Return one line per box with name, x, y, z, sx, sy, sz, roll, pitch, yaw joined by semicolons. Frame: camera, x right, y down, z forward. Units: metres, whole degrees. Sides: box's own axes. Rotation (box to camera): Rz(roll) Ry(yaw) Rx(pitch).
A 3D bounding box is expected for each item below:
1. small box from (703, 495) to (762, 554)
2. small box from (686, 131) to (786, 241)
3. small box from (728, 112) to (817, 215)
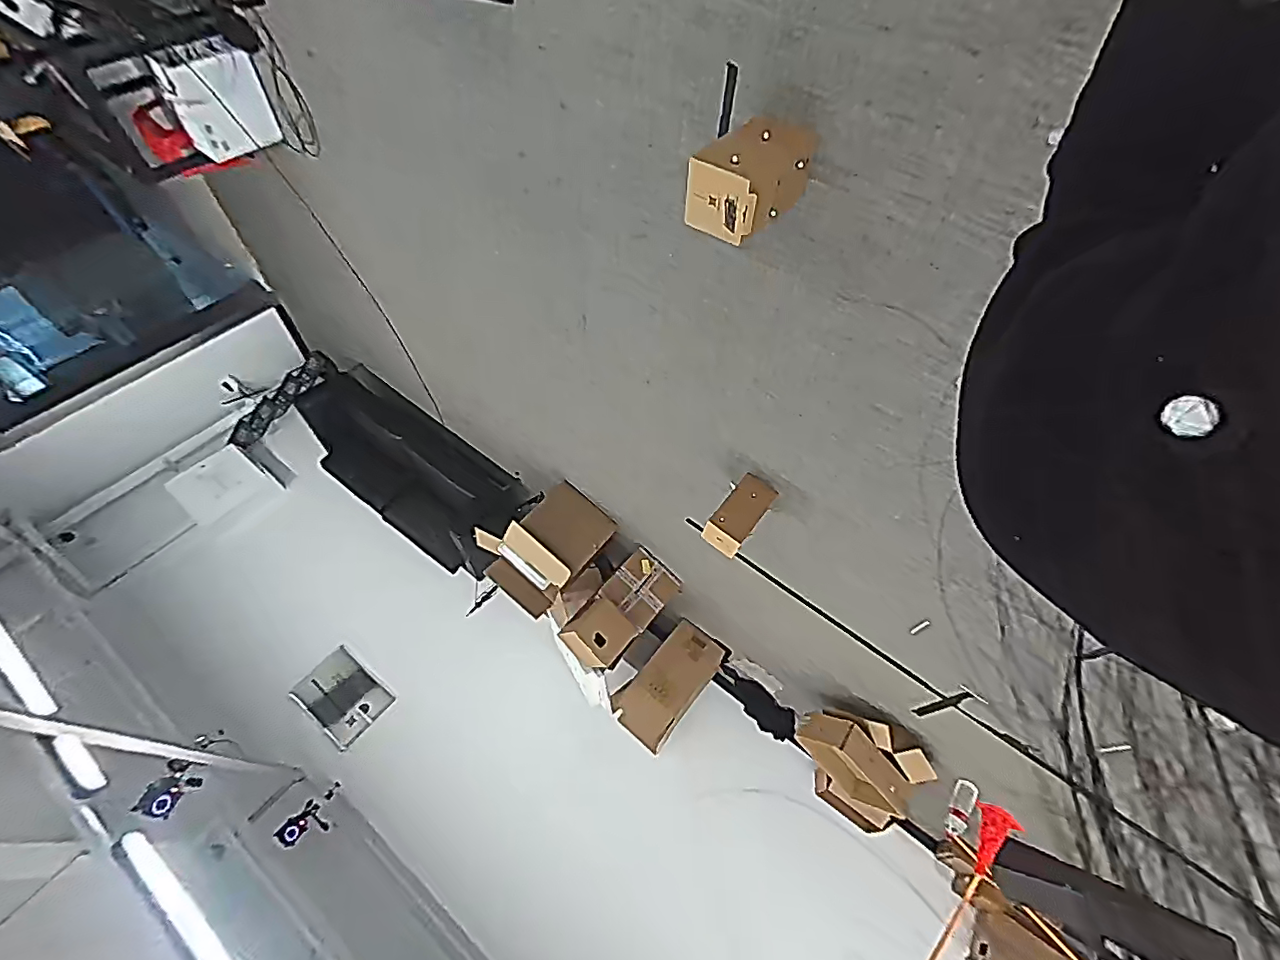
small box;0.412;0.190;2.408;0.179;0.176;0.168;36;153;14
small box;0.238;-0.735;1.343;0.179;0.176;0.168;33;151;21
small box;0.339;-0.838;1.423;0.179;0.176;0.168;33;150;22
